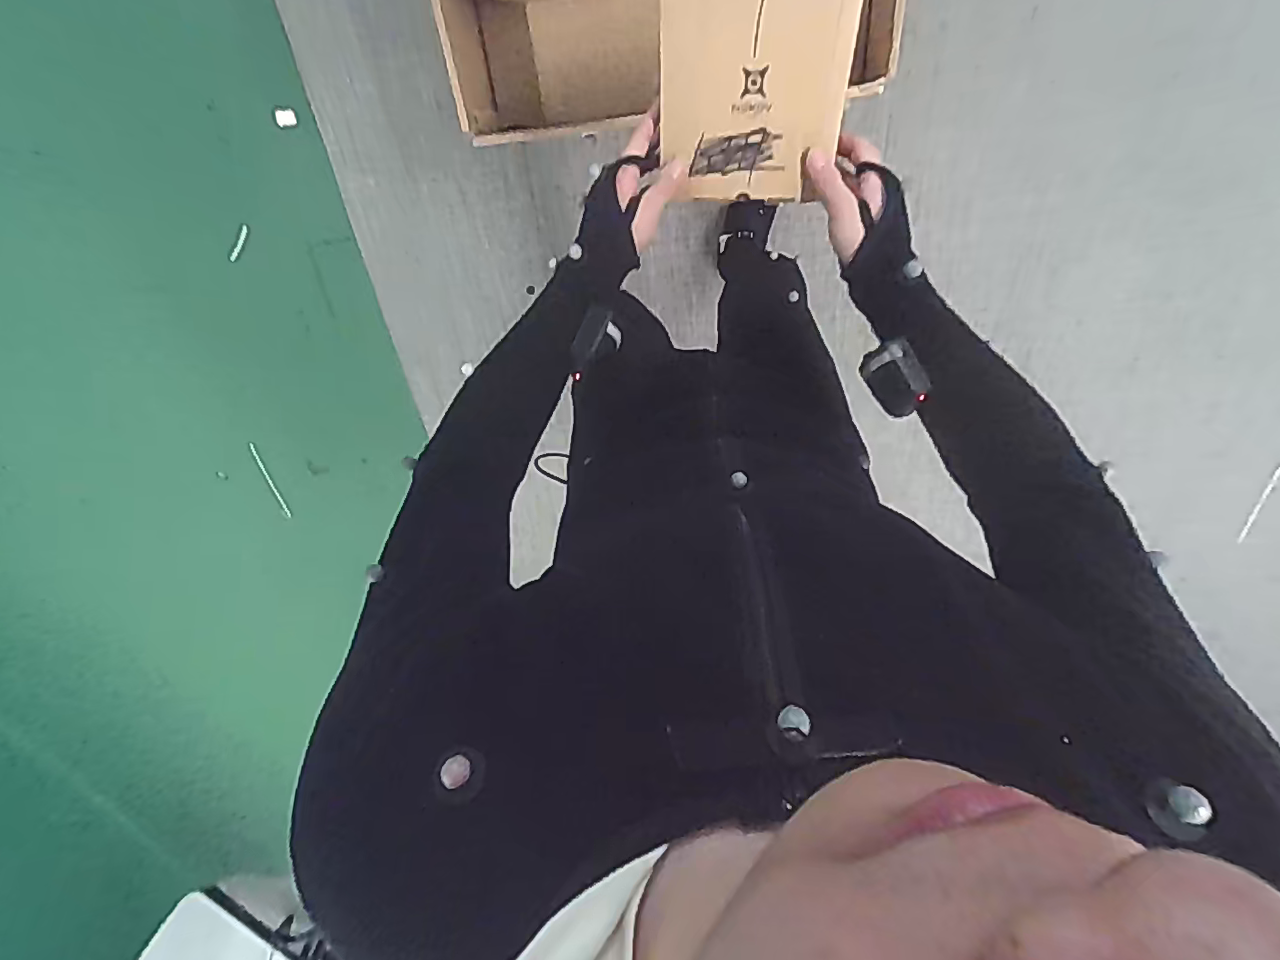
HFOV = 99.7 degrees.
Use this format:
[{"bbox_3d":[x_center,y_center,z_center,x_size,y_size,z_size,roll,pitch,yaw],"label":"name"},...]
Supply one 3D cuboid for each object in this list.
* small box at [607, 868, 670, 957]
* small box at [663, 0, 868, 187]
[{"bbox_3d":[0.003,1.339,1.677,0.168,0.176,0.179,-5,121,8],"label":"small box"},{"bbox_3d":[0.113,-0.406,0.535,0.168,0.176,0.179,3,130,5],"label":"small box"}]
